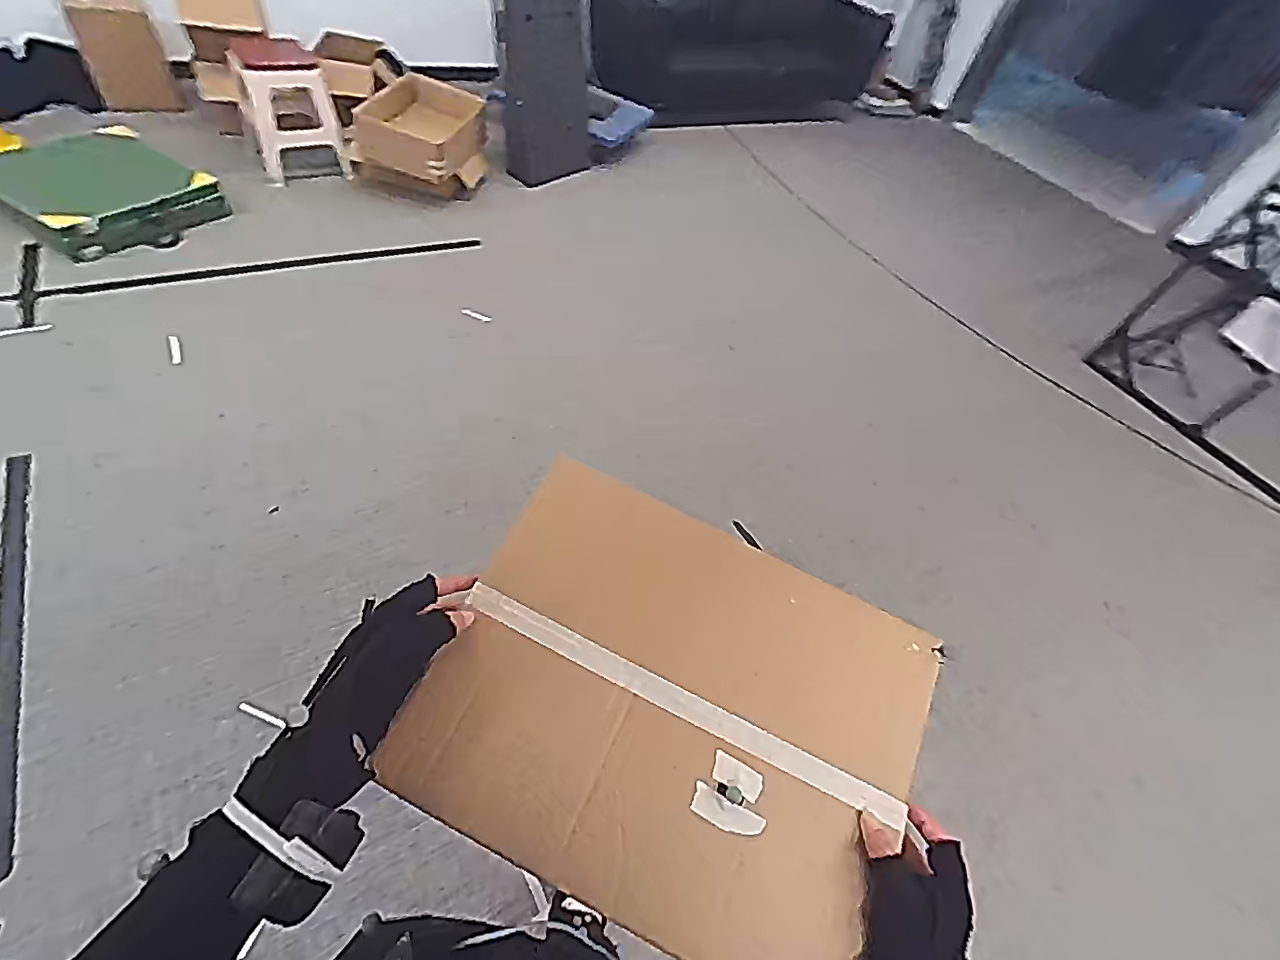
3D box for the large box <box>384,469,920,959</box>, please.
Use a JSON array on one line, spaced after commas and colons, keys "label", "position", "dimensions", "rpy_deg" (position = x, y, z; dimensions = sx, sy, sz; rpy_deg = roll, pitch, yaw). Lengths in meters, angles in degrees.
[{"label": "large box", "position": [0.015, 0.251, 0.613], "dimensions": [0.408, 0.320, 0.320], "rpy_deg": [26, 67, 5]}]
